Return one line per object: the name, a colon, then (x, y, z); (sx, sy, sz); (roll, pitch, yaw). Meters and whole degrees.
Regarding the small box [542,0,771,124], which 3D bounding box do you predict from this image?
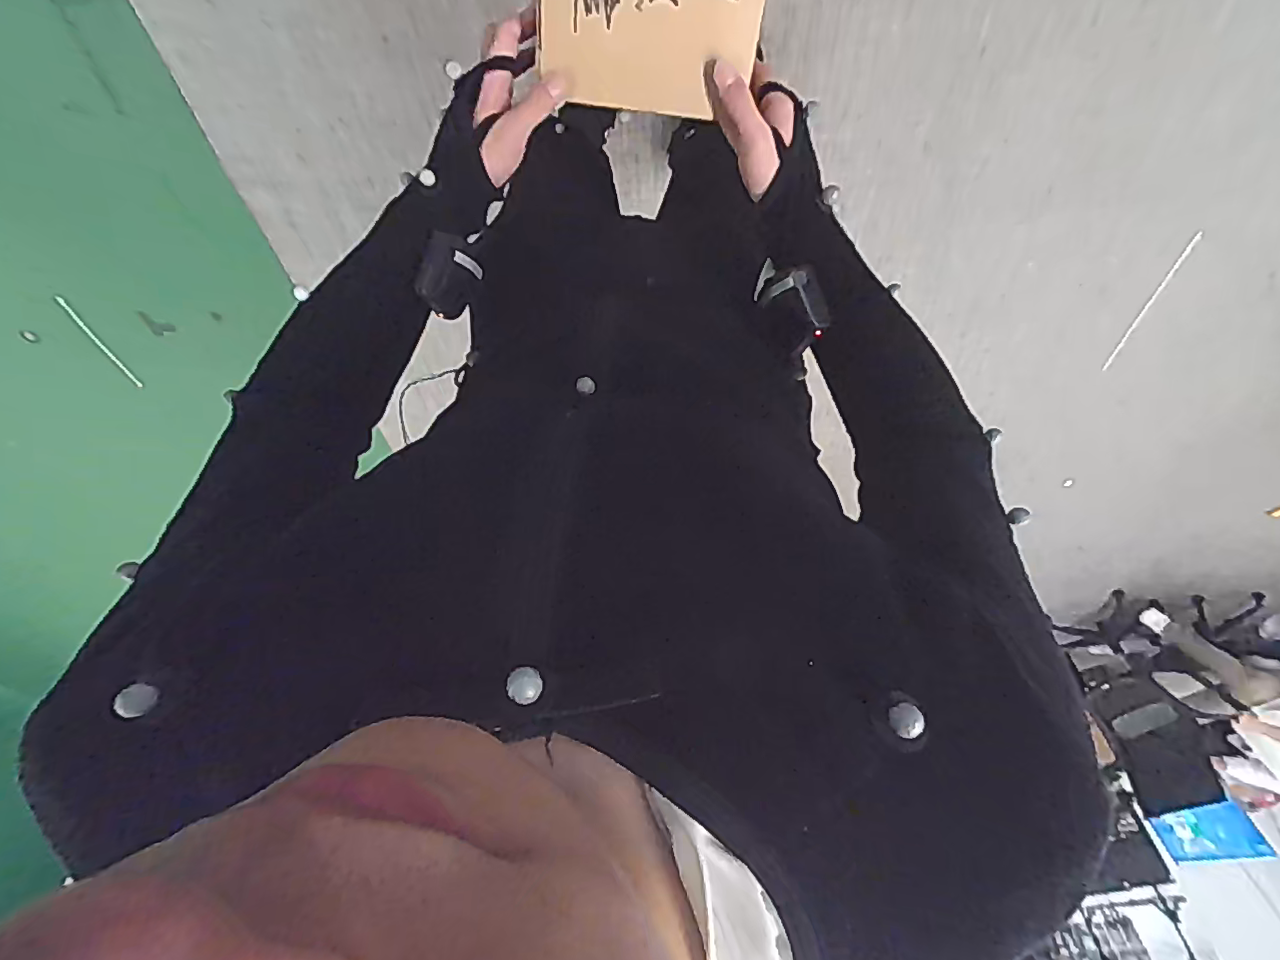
small box: (0.011, -0.424, 0.468); (0.179, 0.176, 0.168); (3, 129, -8)
